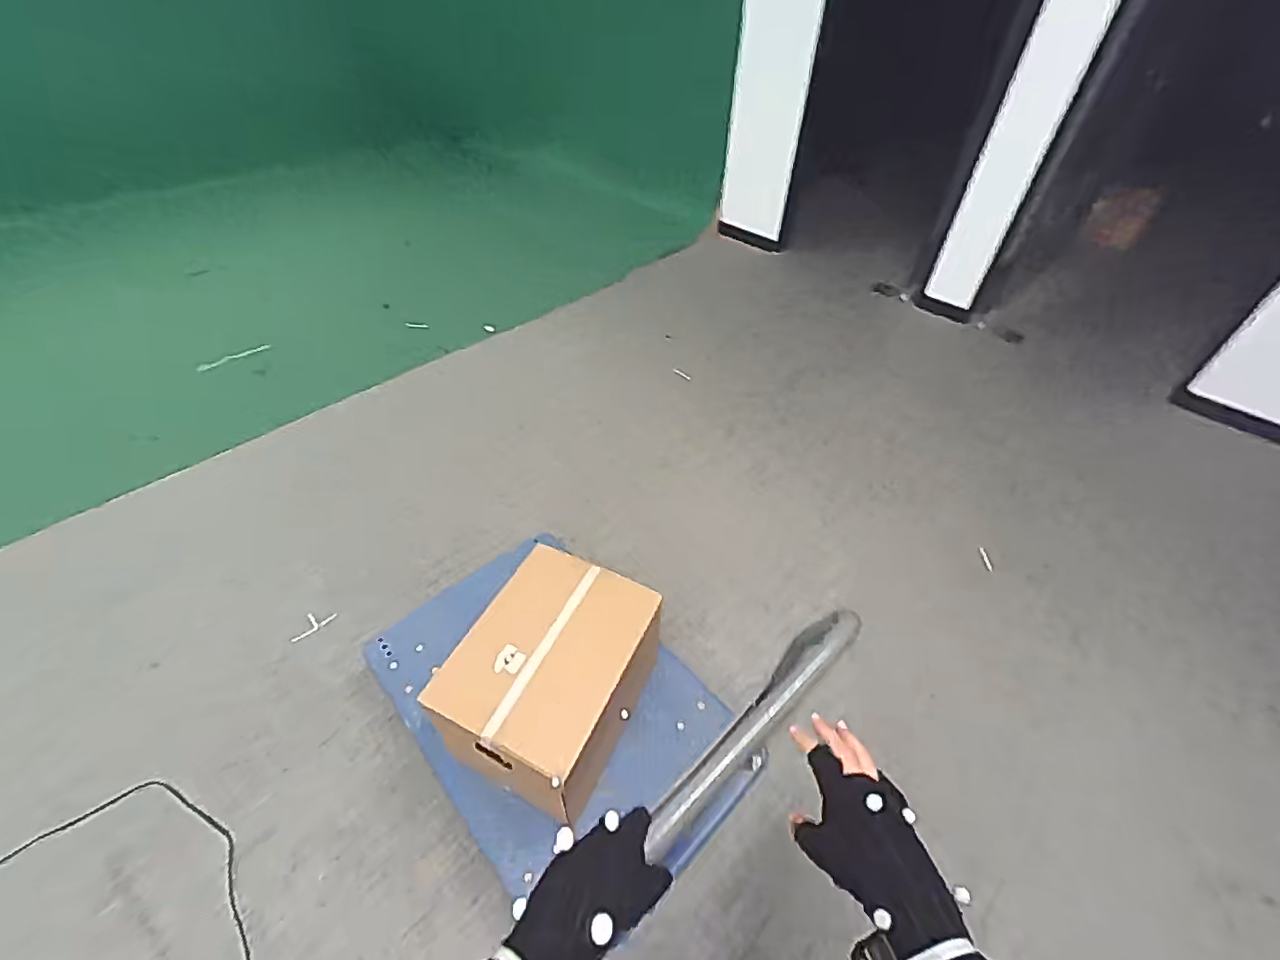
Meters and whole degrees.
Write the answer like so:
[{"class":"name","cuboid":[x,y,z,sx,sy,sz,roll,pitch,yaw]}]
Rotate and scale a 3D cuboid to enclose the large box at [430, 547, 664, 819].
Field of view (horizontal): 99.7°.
[{"class":"large box","cuboid":[-0.170,0.429,1.177,0.320,0.320,0.408,20,49,17]}]
